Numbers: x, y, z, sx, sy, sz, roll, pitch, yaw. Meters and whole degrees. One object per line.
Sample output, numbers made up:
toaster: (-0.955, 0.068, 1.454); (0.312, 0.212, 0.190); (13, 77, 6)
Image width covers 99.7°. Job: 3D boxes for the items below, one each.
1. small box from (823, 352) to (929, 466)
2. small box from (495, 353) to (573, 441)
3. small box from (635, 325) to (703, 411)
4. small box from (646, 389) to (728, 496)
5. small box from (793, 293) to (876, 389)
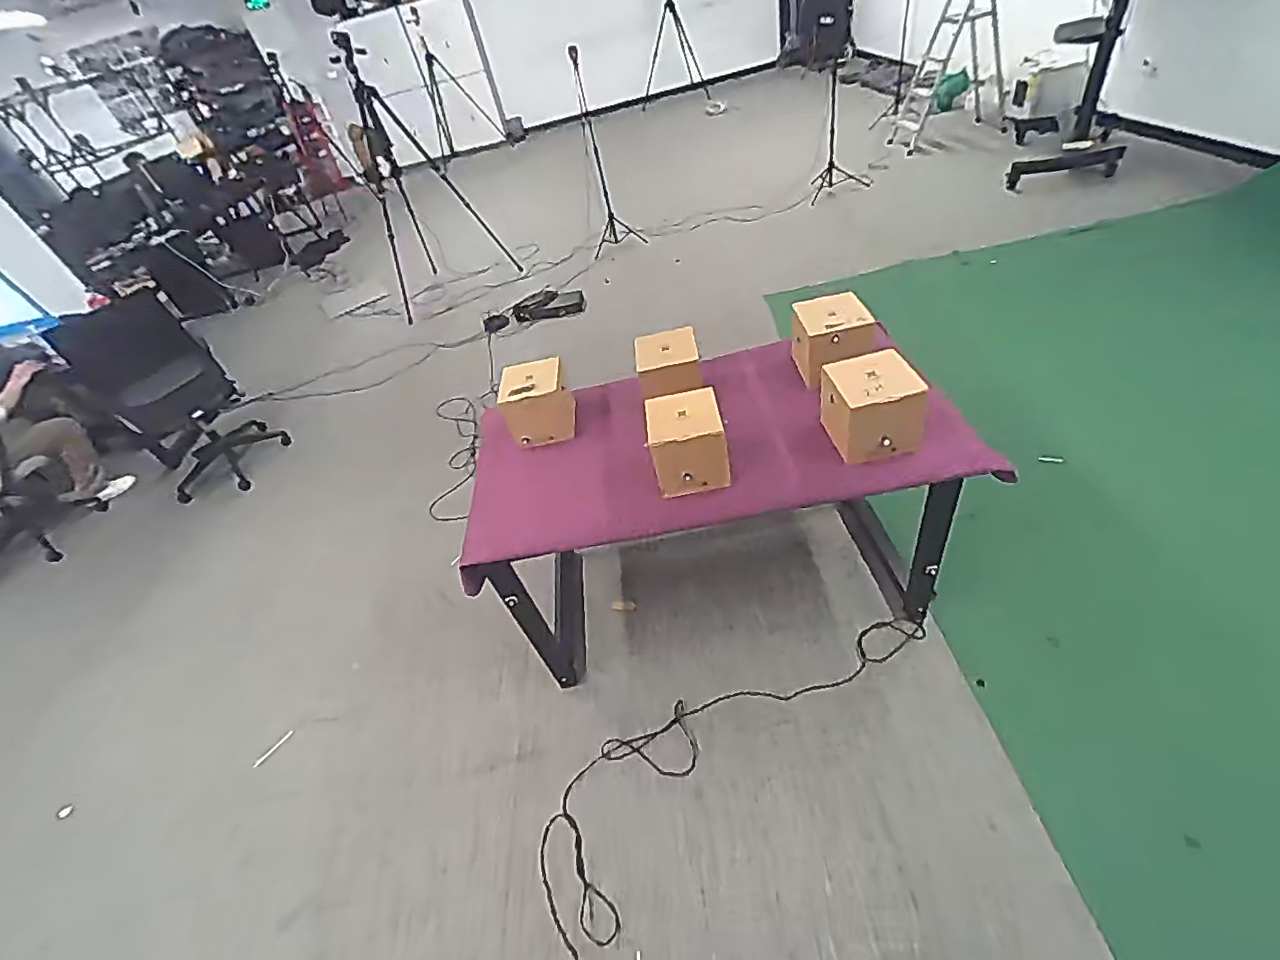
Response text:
small box: (0.521, -0.158, 1.223); (0.168, 0.176, 0.179); (-13, 44, 5)
small box: (-0.288, -0.224, 1.506); (0.168, 0.176, 0.179); (-10, 45, 4)
small box: (0.082, -0.298, 1.488); (0.168, 0.176, 0.179); (-9, 45, 7)
small box: (0.110, -0.087, 1.266); (0.168, 0.176, 0.179); (-10, 43, 5)
small box: (0.510, -0.370, 1.444); (0.168, 0.176, 0.179); (-11, 44, 6)
